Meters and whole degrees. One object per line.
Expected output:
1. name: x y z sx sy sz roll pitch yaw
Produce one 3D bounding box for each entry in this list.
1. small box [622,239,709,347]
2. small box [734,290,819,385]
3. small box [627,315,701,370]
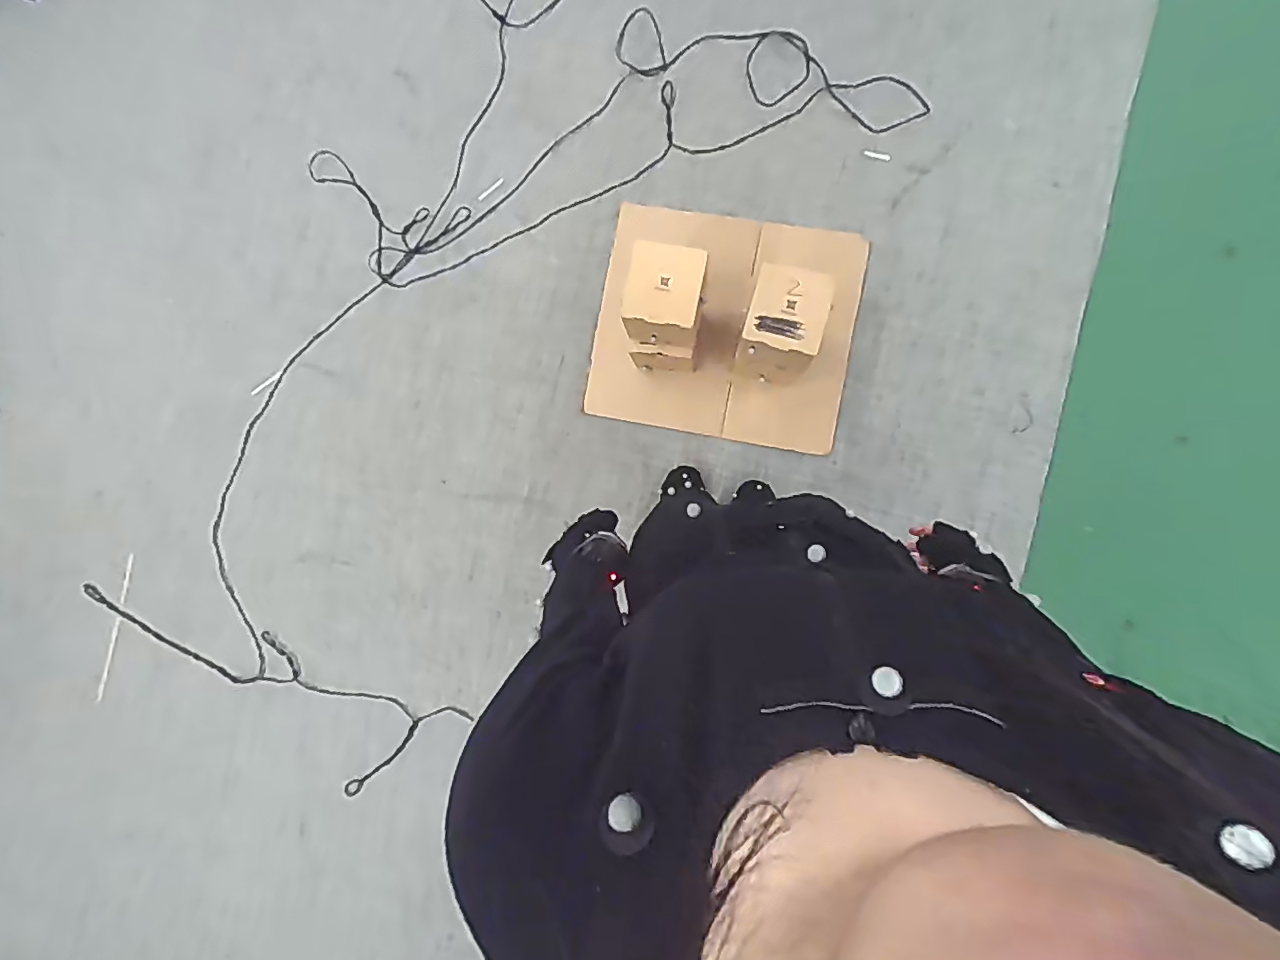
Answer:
1. small box: 0.062 -0.429 1.263 0.168 0.176 0.179 11 89 6
2. small box: 0.344 -0.361 1.397 0.168 0.176 0.179 15 91 8
3. small box: 0.070 -0.397 1.425 0.168 0.176 0.179 9 89 7
